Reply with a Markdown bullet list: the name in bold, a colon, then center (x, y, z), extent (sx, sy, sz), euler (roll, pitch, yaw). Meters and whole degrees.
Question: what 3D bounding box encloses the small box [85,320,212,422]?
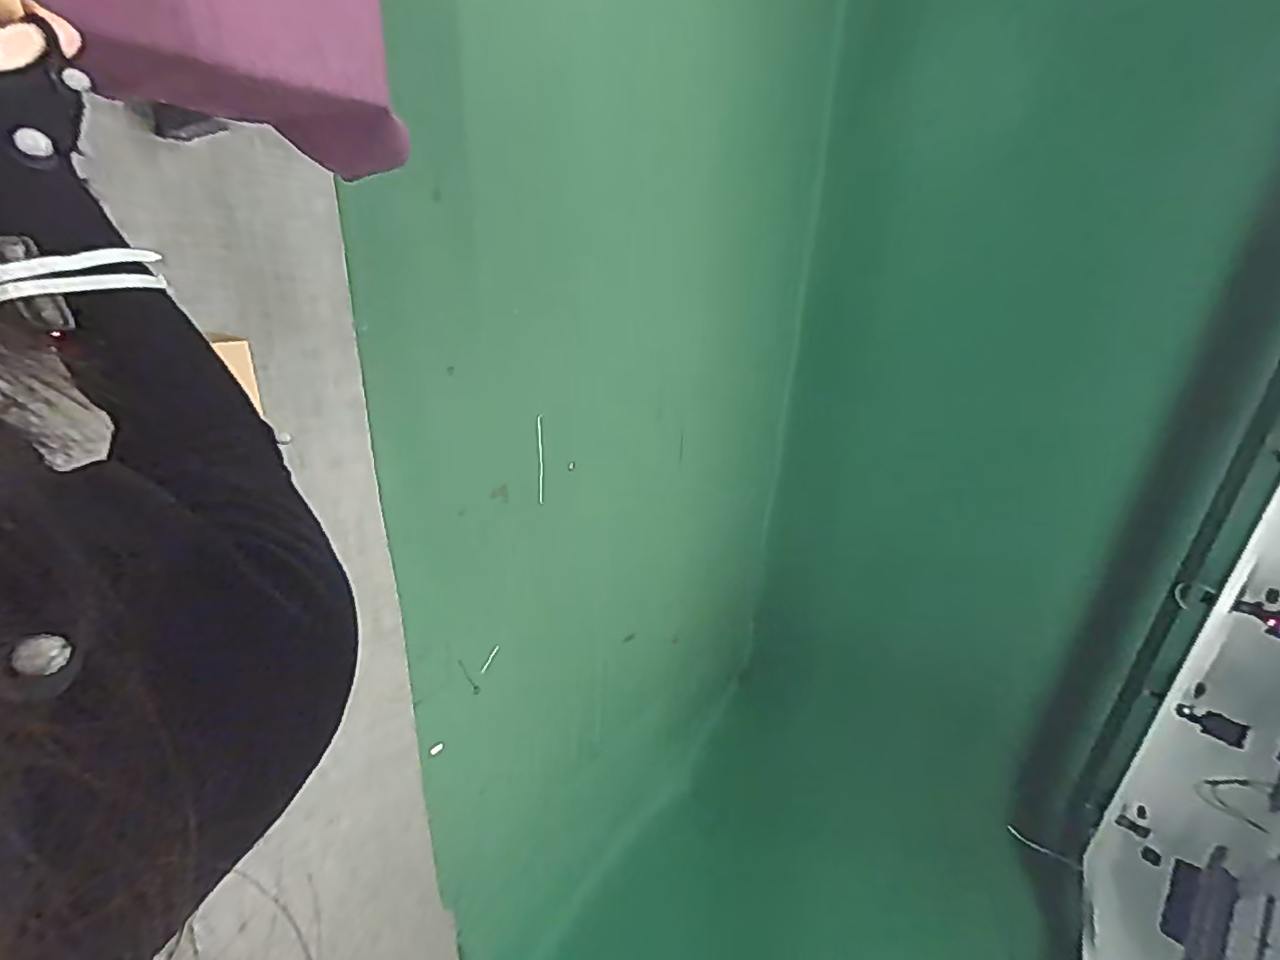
- **small box**: center (-0.979, -0.229, 1.100), extent (0.179, 0.176, 0.168), euler (-28, 127, -48)
